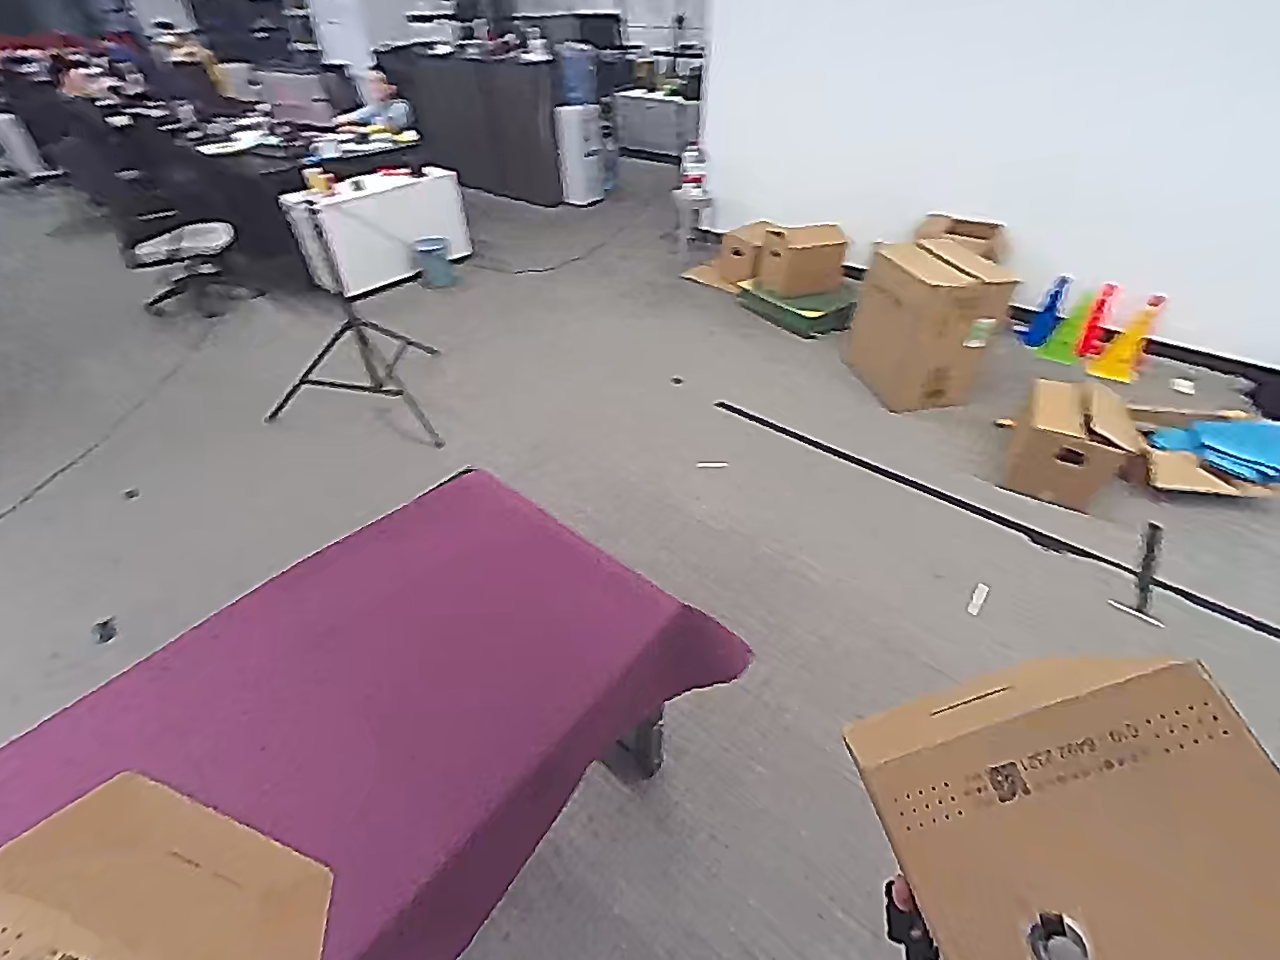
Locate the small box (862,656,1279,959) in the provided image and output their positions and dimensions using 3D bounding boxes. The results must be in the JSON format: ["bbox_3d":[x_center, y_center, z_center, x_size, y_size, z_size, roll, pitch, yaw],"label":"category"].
[{"bbox_3d":[0.243,0.204,0.303,0.168,0.179,0.176,-22,68,9],"label":"small box"}]
